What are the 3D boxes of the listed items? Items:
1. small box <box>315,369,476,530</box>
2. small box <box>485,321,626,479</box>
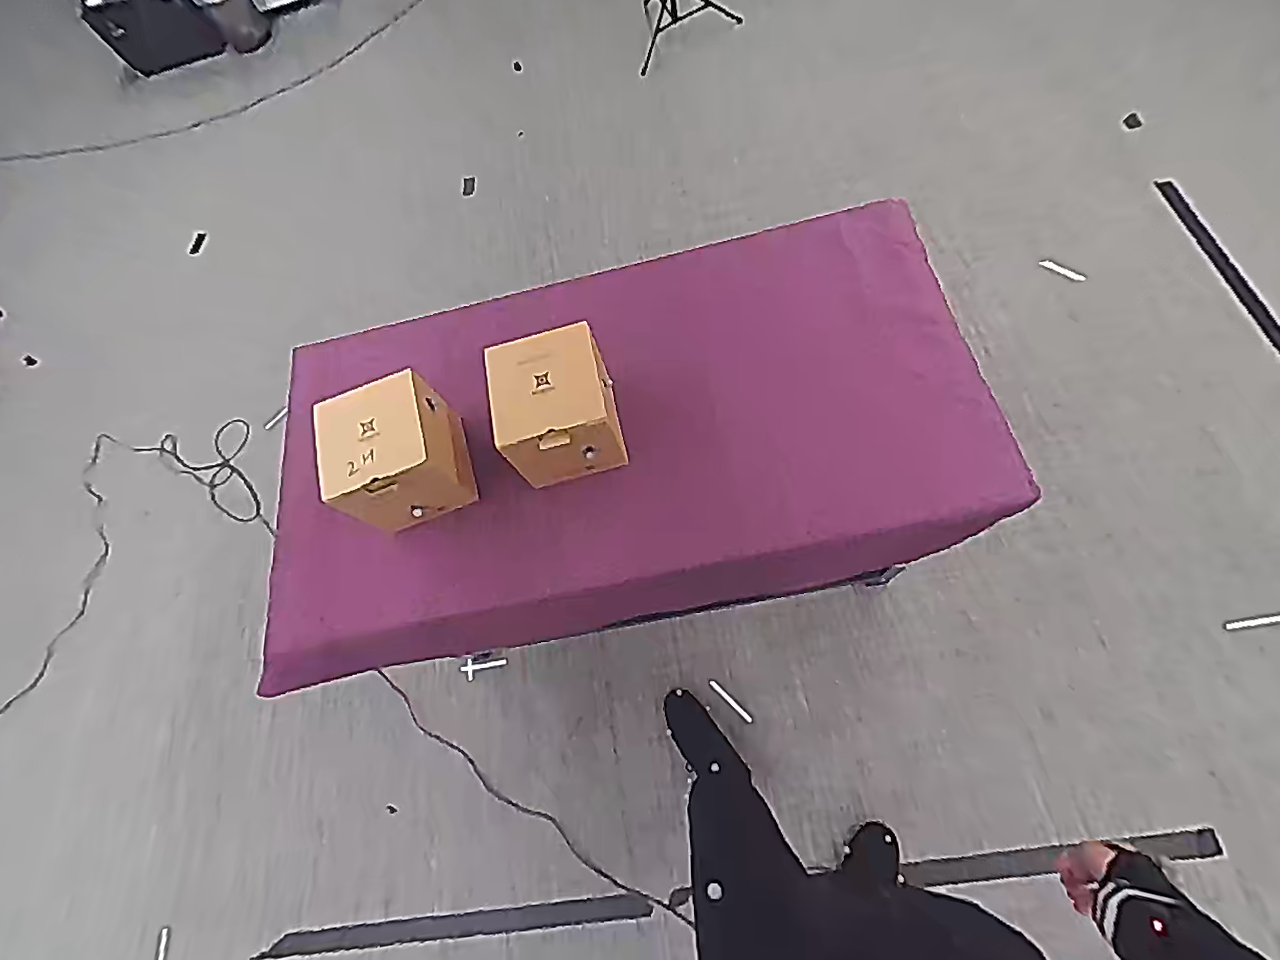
[{"bbox_3d":[-0.387,-0.041,0.871,0.168,0.176,0.179,-21,67,2],"label":"small box"},{"bbox_3d":[-0.127,-0.113,0.855,0.168,0.176,0.179,-14,67,4],"label":"small box"}]
